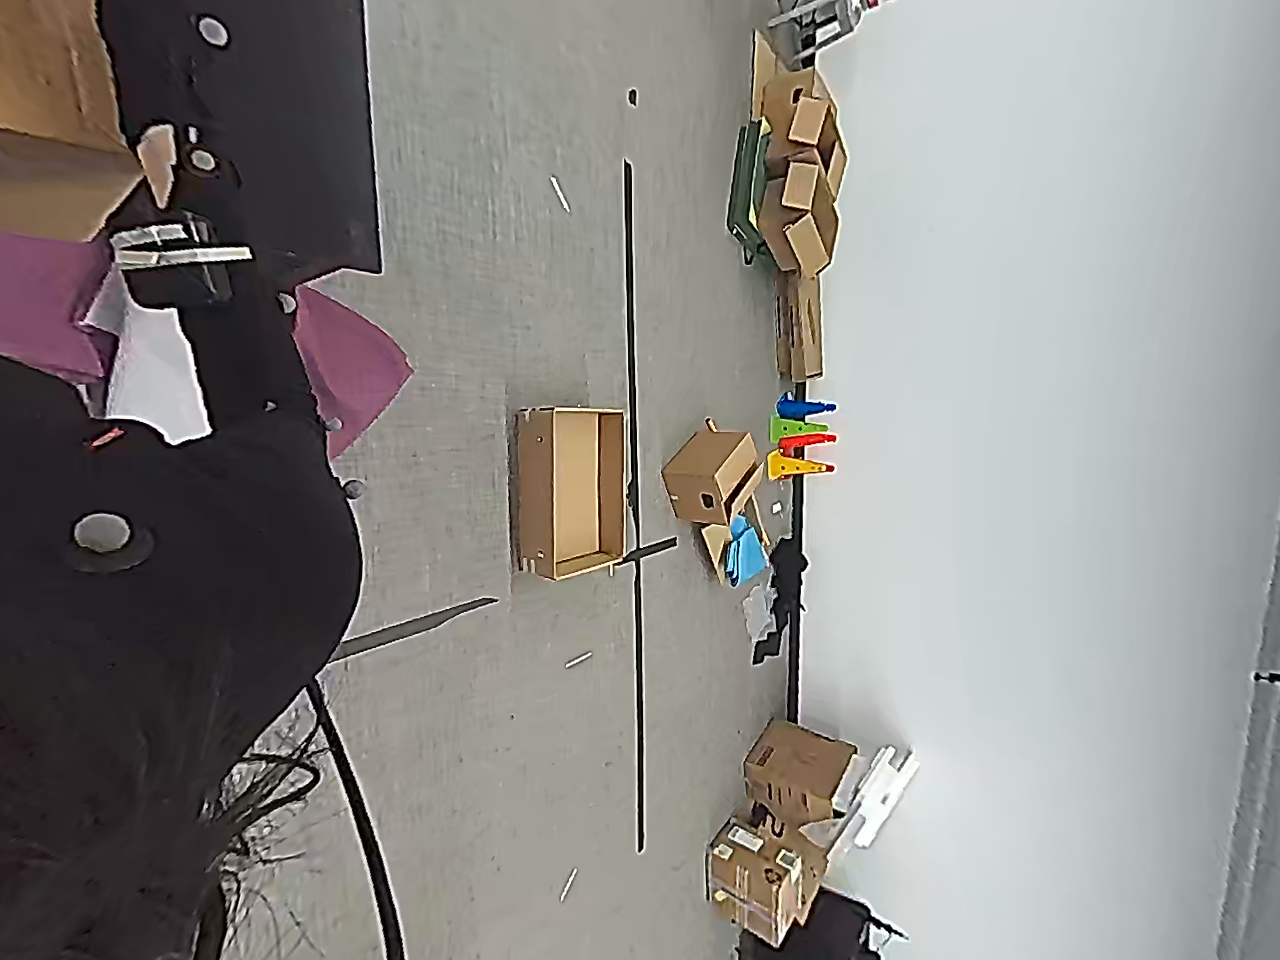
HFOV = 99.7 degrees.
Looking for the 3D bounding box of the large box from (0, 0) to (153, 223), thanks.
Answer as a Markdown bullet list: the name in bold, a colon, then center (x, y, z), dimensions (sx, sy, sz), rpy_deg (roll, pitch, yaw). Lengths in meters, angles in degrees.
- **large box**: center (-0.607, -0.370, 0.303), dimensions (0.408, 0.320, 0.320), rpy_deg (-18, 109, -52)
